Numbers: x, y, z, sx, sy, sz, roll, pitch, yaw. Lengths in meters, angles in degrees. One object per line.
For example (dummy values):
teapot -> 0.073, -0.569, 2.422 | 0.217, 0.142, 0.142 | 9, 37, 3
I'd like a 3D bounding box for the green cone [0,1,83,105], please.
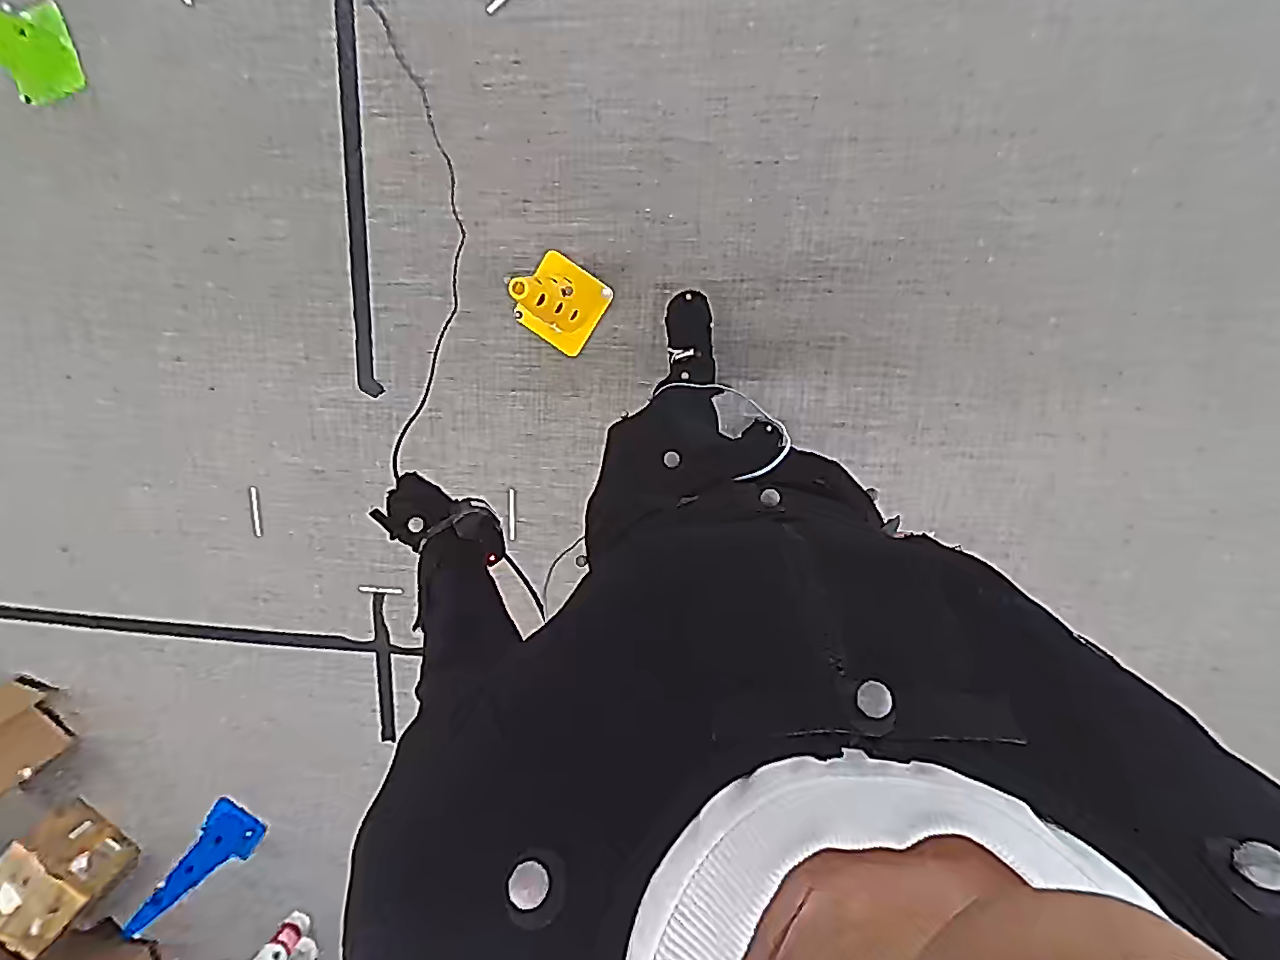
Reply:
green cone -> -1.569, -1.068, 1.232 | 0.200, 0.368, 0.202 | -12, 100, 9
